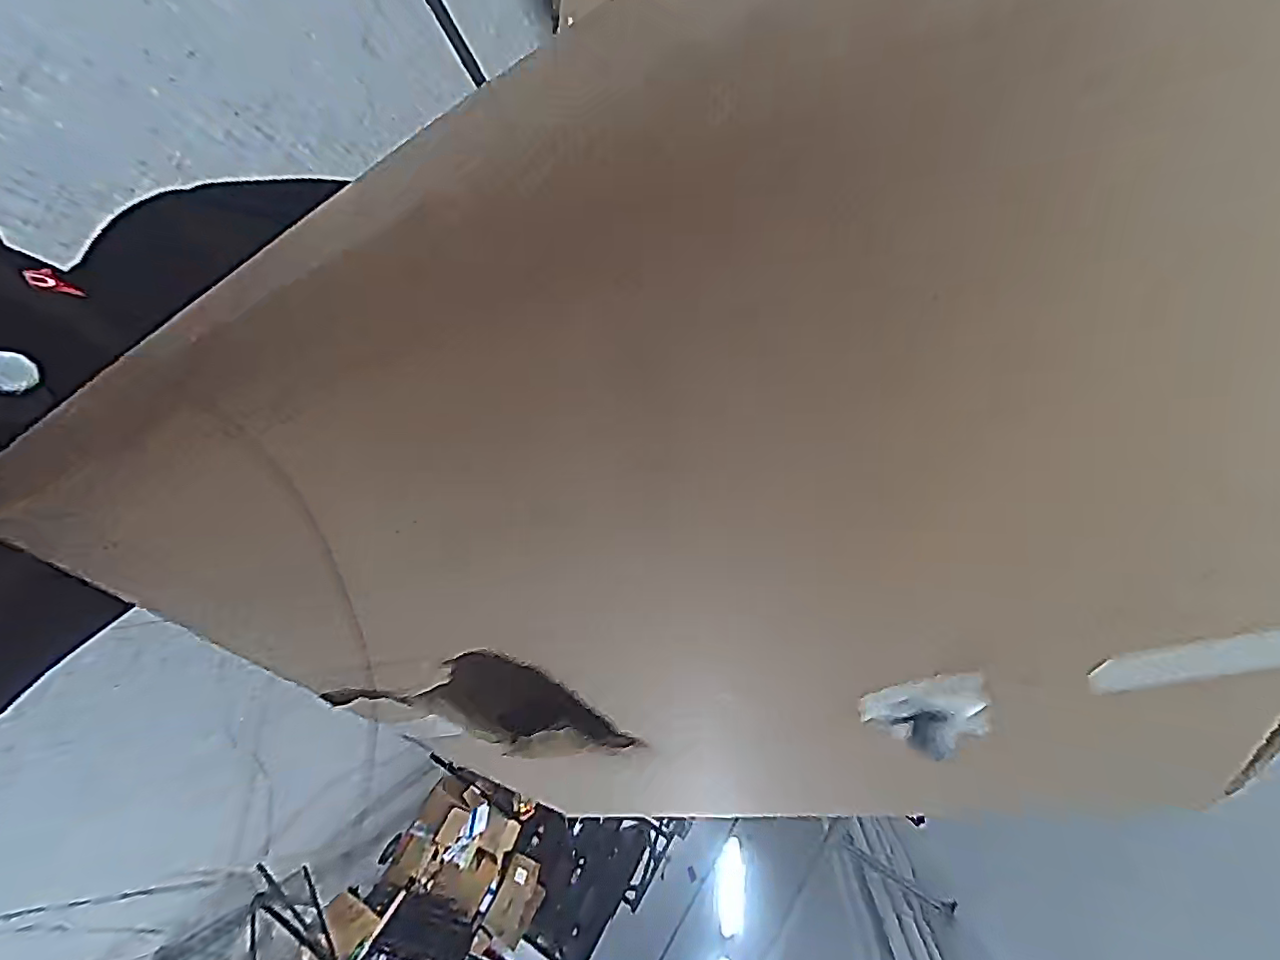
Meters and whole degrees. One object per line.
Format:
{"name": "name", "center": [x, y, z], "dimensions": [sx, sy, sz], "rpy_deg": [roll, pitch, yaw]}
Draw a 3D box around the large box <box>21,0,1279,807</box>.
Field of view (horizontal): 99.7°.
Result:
{"name": "large box", "center": [0.039, -0.074, 0.323], "dimensions": [0.320, 0.320, 0.408], "rpy_deg": [57, 30, -39]}
